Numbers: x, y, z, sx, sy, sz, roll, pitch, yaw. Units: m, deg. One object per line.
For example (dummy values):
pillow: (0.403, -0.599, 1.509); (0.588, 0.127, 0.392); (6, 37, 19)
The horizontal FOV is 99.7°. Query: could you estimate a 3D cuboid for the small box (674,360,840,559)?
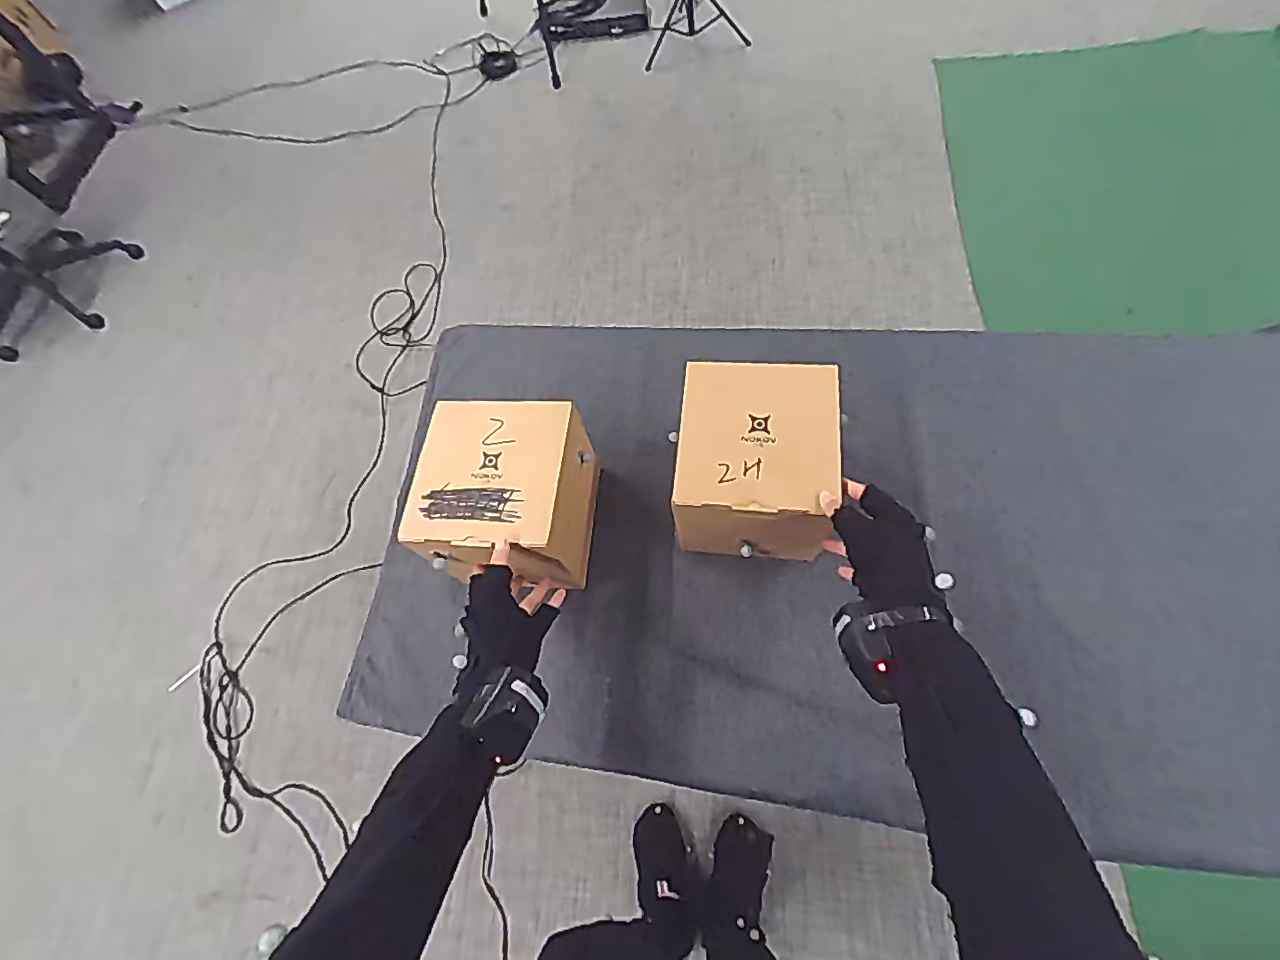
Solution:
small box: (0.134, -0.019, 0.638); (0.168, 0.176, 0.179); (4, 67, 10)
